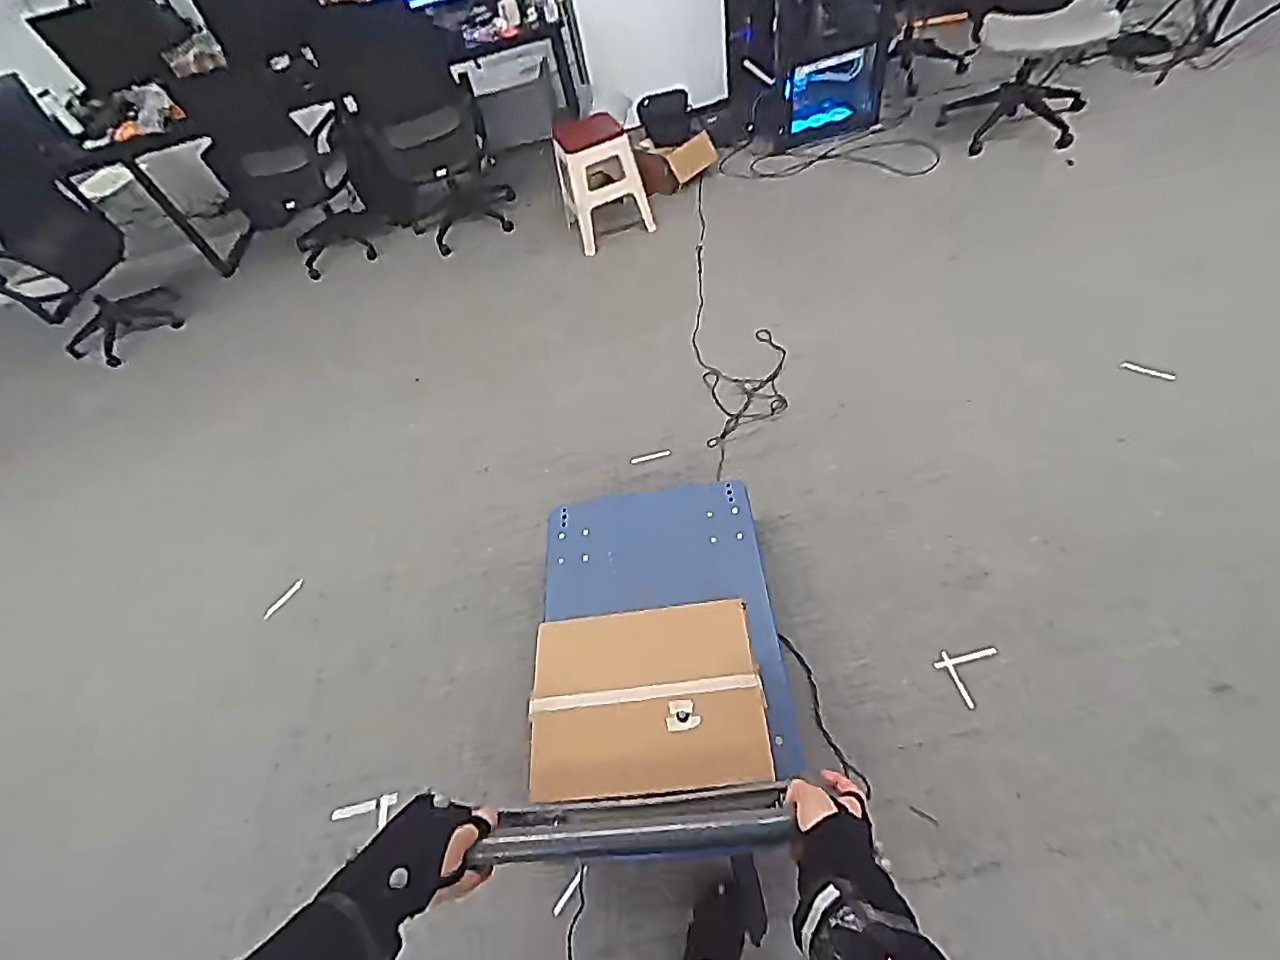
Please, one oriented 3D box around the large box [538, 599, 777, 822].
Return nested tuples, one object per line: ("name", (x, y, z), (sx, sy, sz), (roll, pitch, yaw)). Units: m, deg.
("large box", (0.036, 0.469, 1.081), (0.408, 0.320, 0.320), (-9, 53, 5))
